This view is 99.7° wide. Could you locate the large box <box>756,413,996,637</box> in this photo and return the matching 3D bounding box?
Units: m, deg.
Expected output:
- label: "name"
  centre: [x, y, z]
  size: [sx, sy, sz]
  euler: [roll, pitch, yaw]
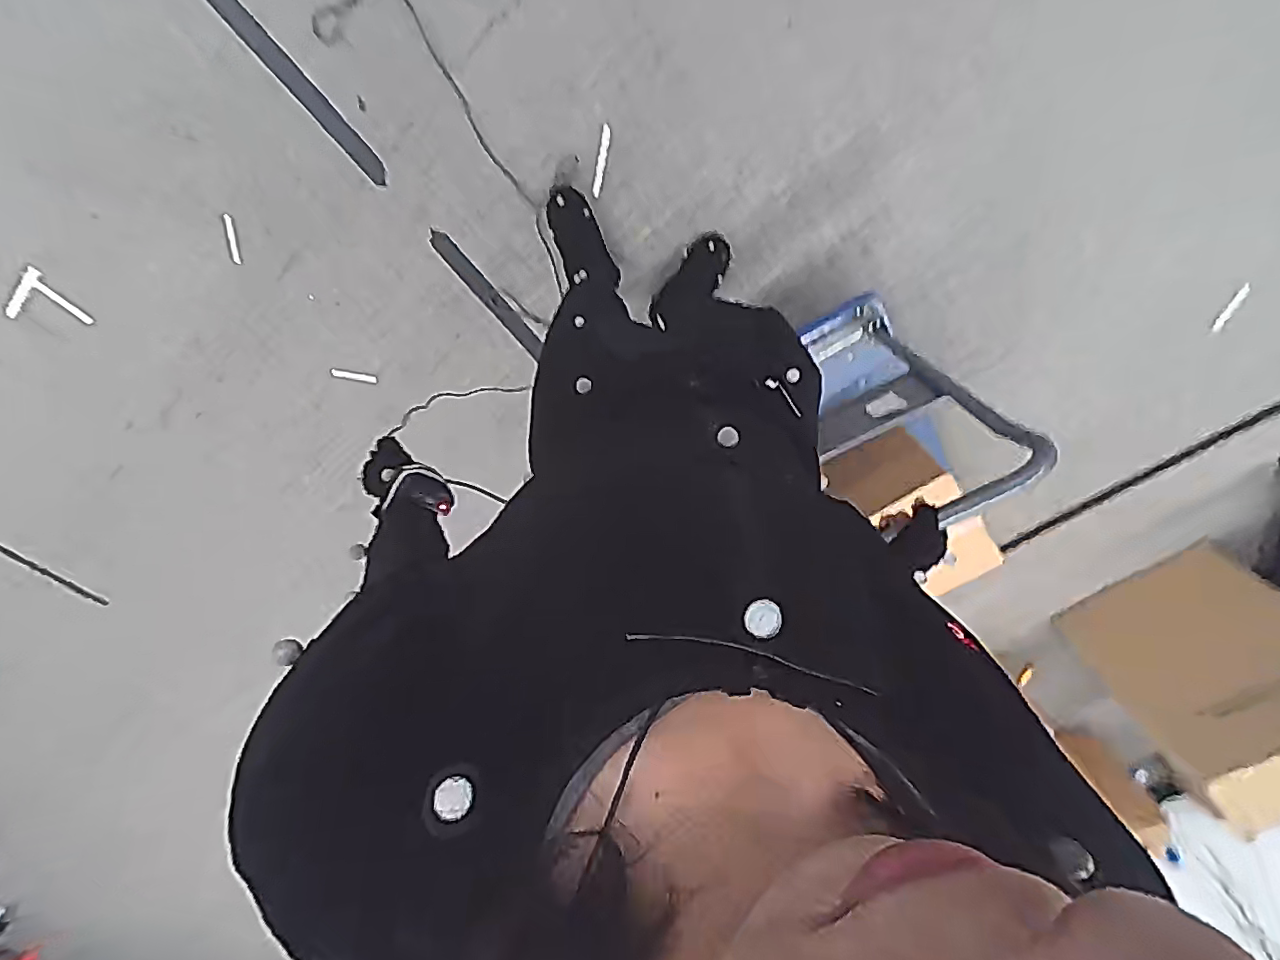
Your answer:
- label: "large box"
  centre: [0.565, 0.109, 1.358]
  size: [0.408, 0.320, 0.320]
  euler: [-35, 115, 19]
